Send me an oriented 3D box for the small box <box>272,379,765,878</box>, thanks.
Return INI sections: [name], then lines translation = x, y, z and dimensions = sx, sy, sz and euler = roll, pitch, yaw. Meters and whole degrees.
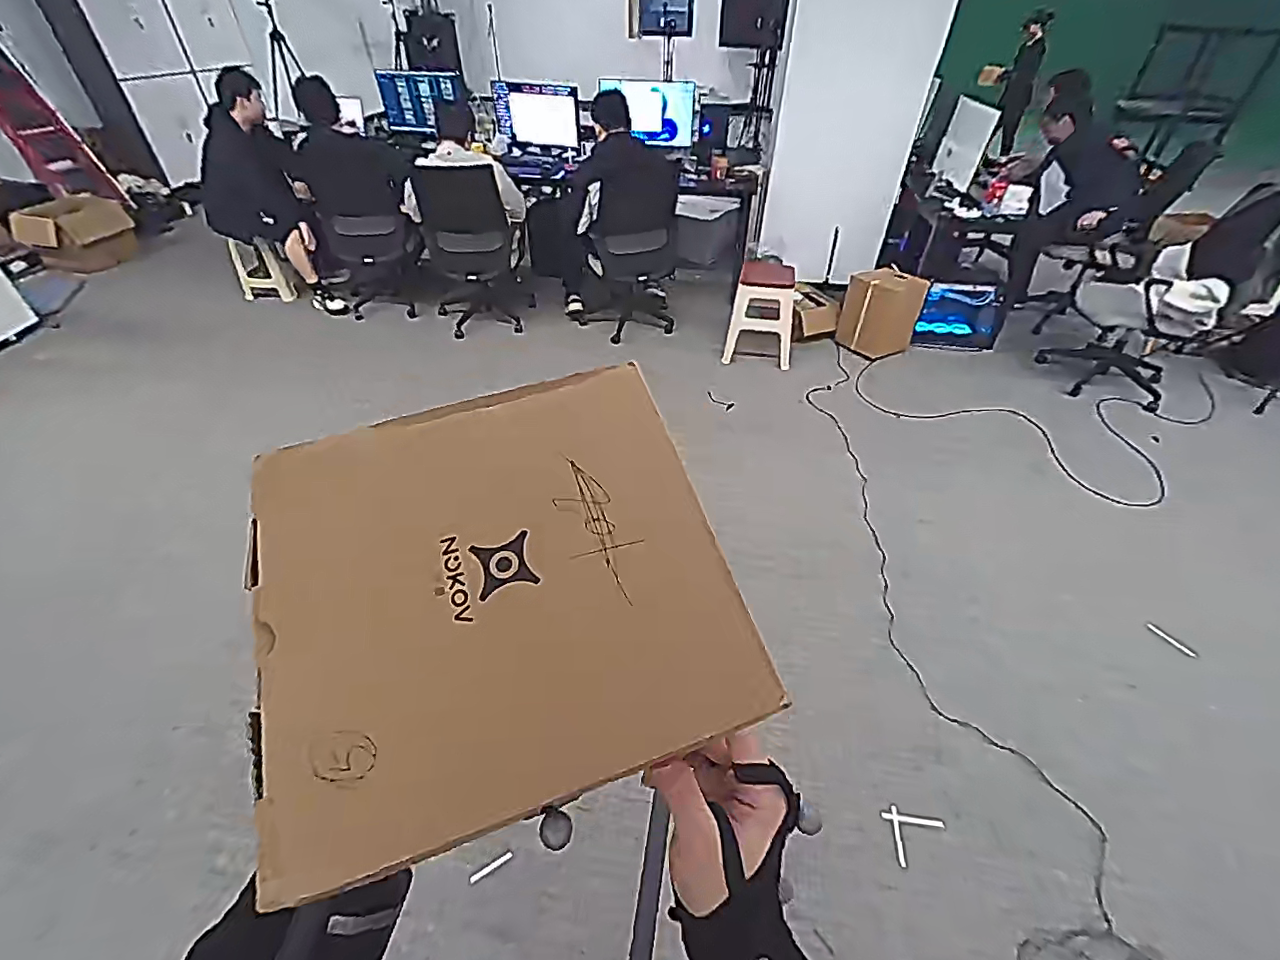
[small box]
translation = -0.060, 0.078, 0.293
dimensions = 0.179, 0.176, 0.168
euler = -17, 63, -11
